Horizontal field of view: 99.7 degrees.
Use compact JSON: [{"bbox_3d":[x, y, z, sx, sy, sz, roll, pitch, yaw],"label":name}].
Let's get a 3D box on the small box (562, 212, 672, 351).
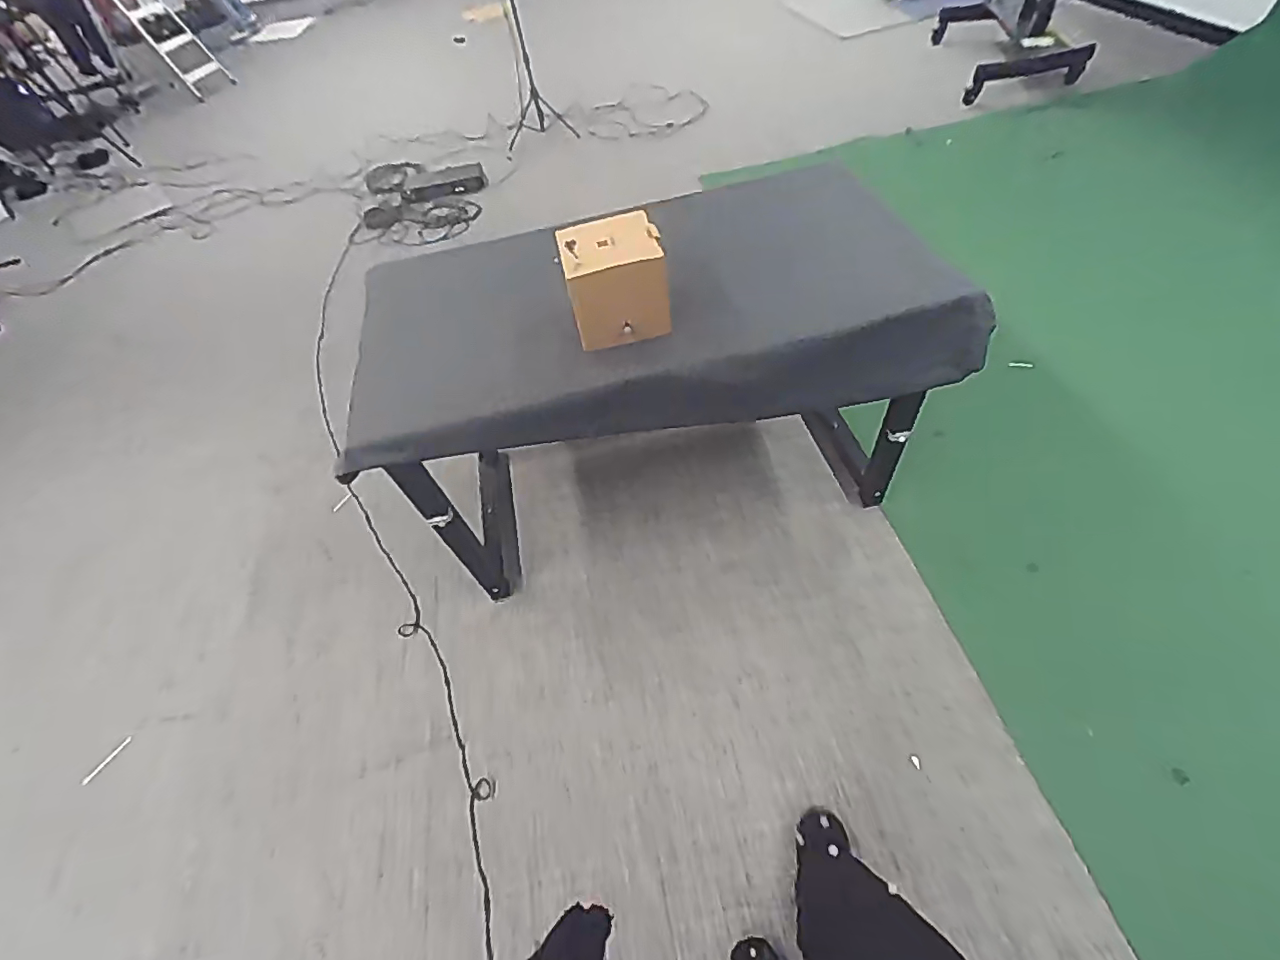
[{"bbox_3d":[-0.039,-0.374,1.030,0.179,0.176,0.168,-13,52,-1],"label":"small box"}]
